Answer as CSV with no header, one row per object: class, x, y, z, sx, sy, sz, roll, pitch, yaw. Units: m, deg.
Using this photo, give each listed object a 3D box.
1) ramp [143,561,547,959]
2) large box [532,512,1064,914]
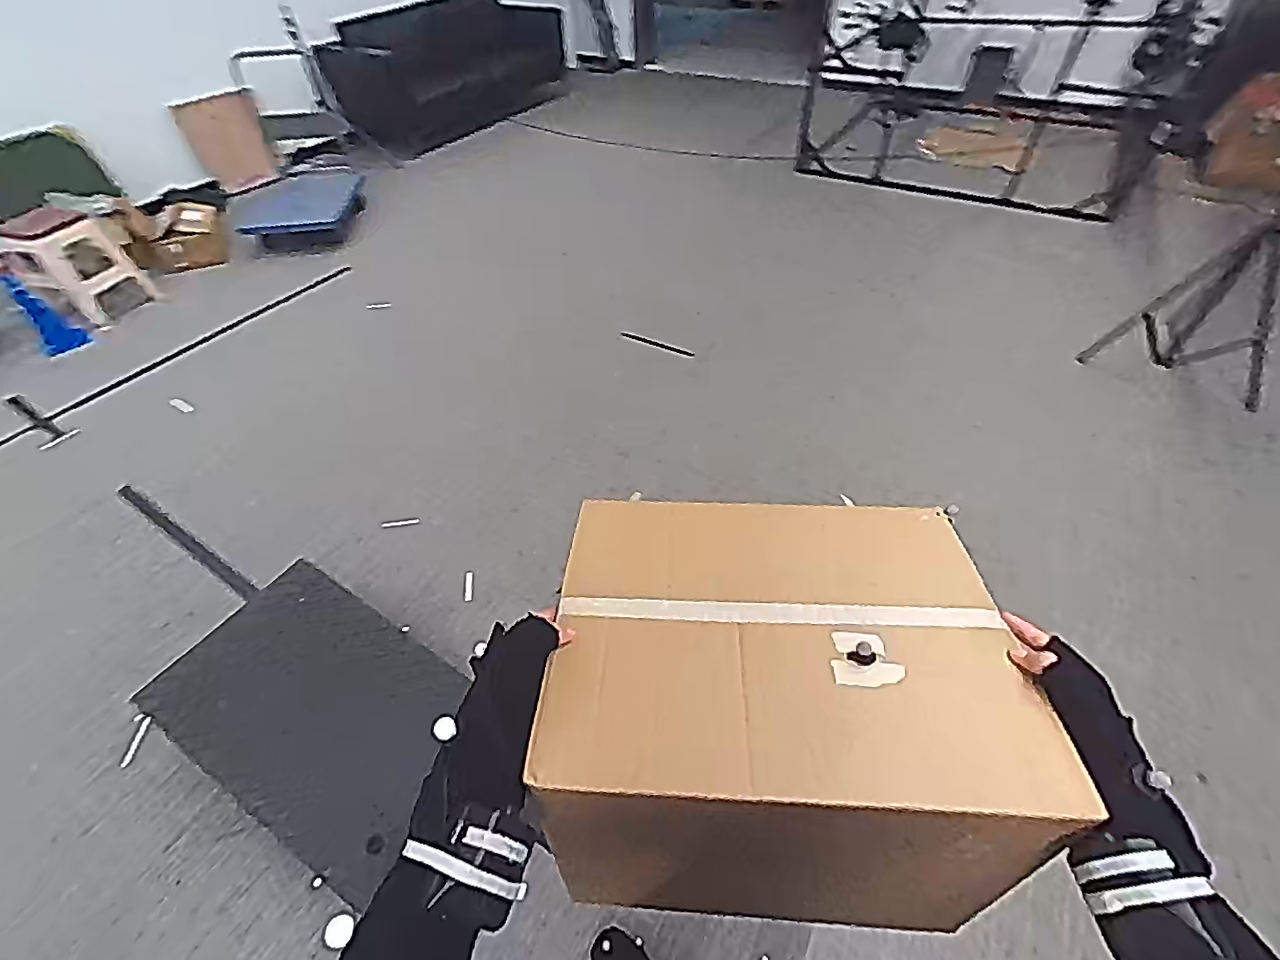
ramp,-0.686,0.632,1.358,0.991,0.206,0.509,22,51,21
large box,0.122,0.250,0.609,0.408,0.320,0.320,1,39,3
